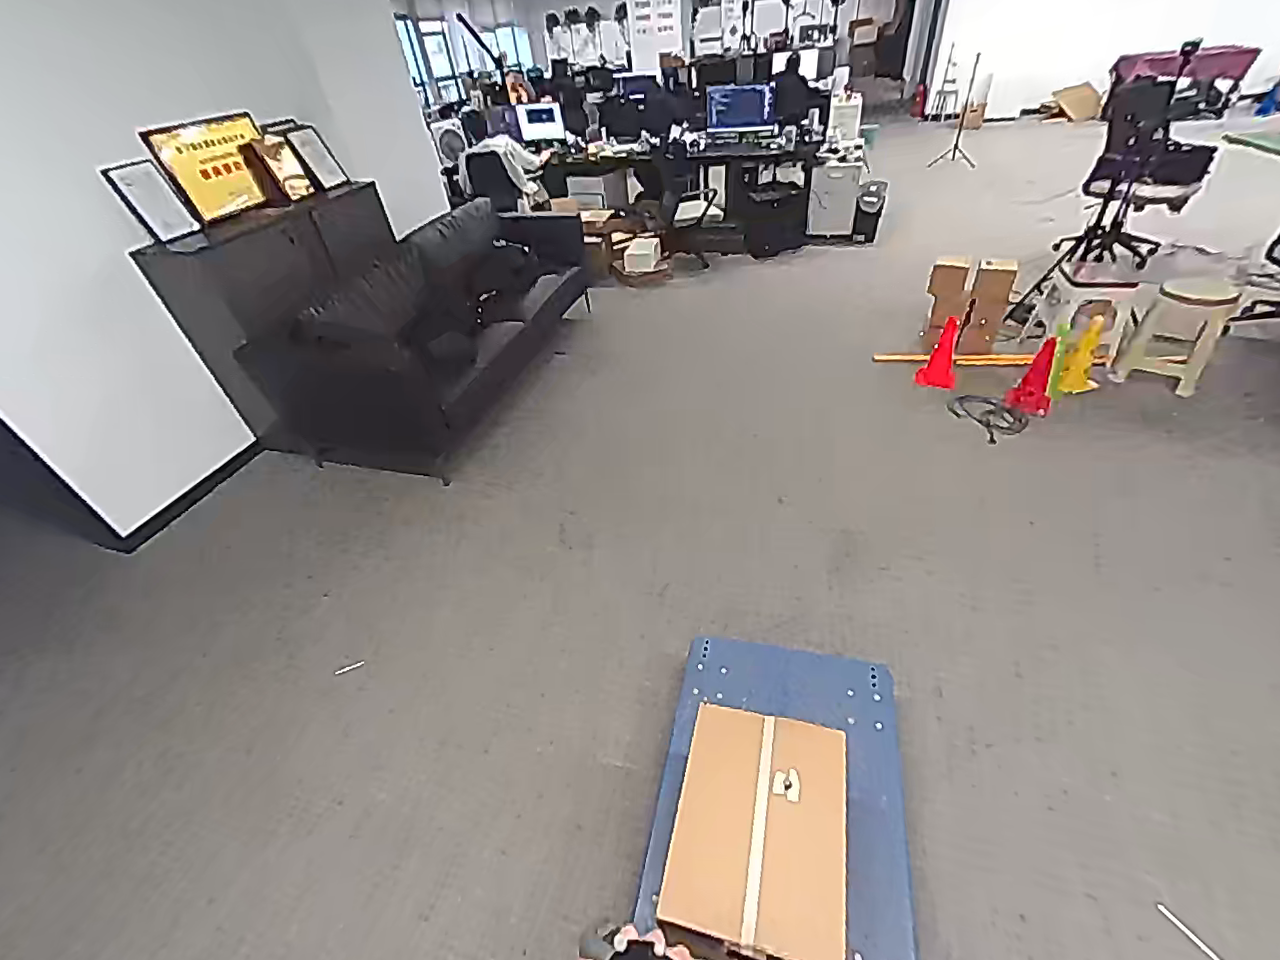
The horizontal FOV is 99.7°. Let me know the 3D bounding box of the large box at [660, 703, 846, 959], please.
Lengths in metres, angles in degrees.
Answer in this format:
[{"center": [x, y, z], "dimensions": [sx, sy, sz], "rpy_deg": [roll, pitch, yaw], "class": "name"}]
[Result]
[{"center": [0.244, 0.757, 1.134], "dimensions": [0.320, 0.320, 0.408], "rpy_deg": [5, 40, 15], "class": "large box"}]
